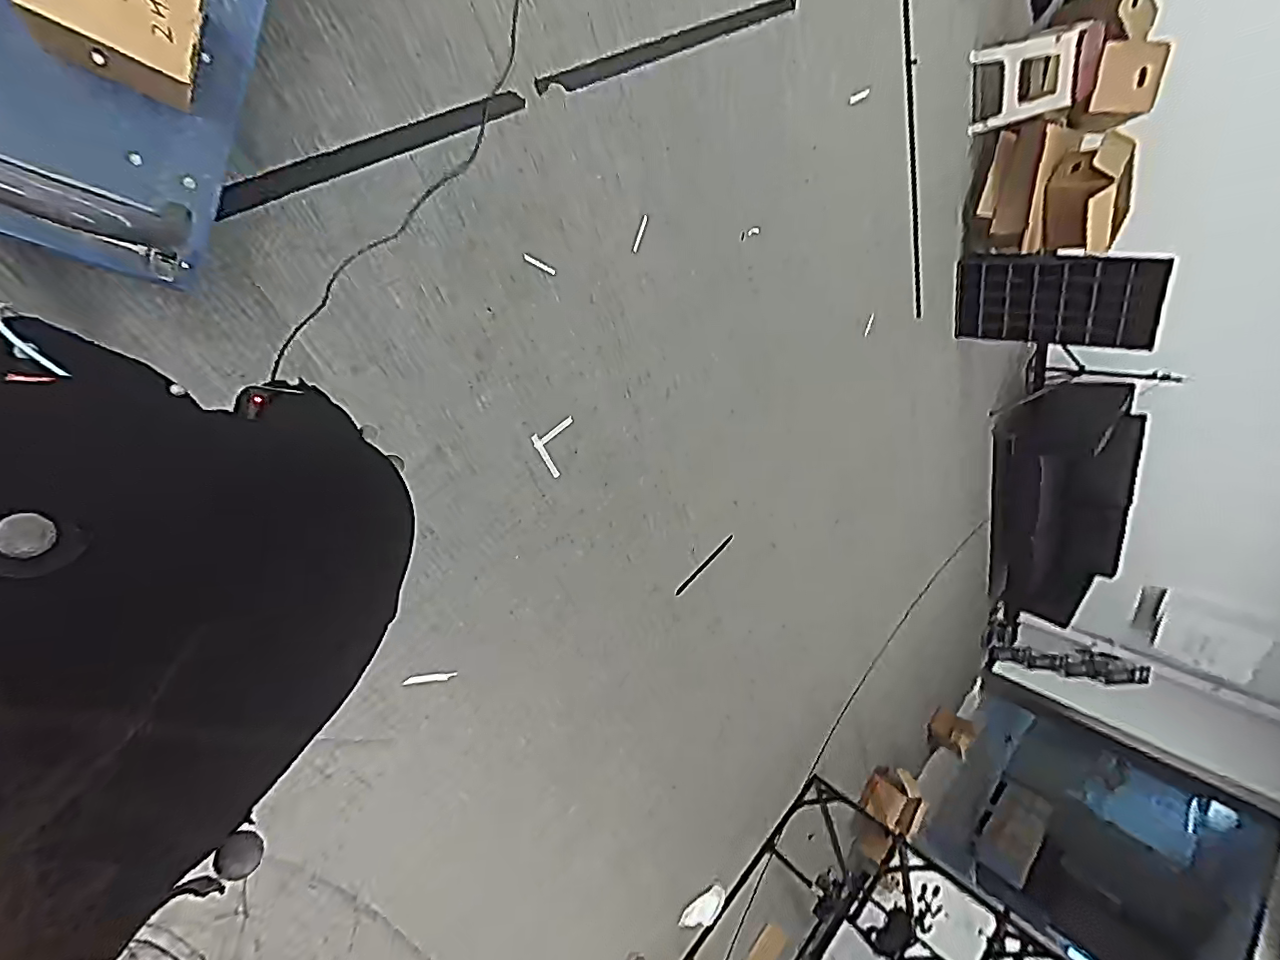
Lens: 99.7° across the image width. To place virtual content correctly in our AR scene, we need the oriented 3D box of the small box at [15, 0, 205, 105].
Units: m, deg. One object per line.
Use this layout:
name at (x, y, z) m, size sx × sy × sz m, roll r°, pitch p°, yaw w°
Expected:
small box at (-0.758, -0.689, 0.787) m, size 0.179 × 0.176 × 0.168 m, roll 10°, pitch 98°, yaw -43°
